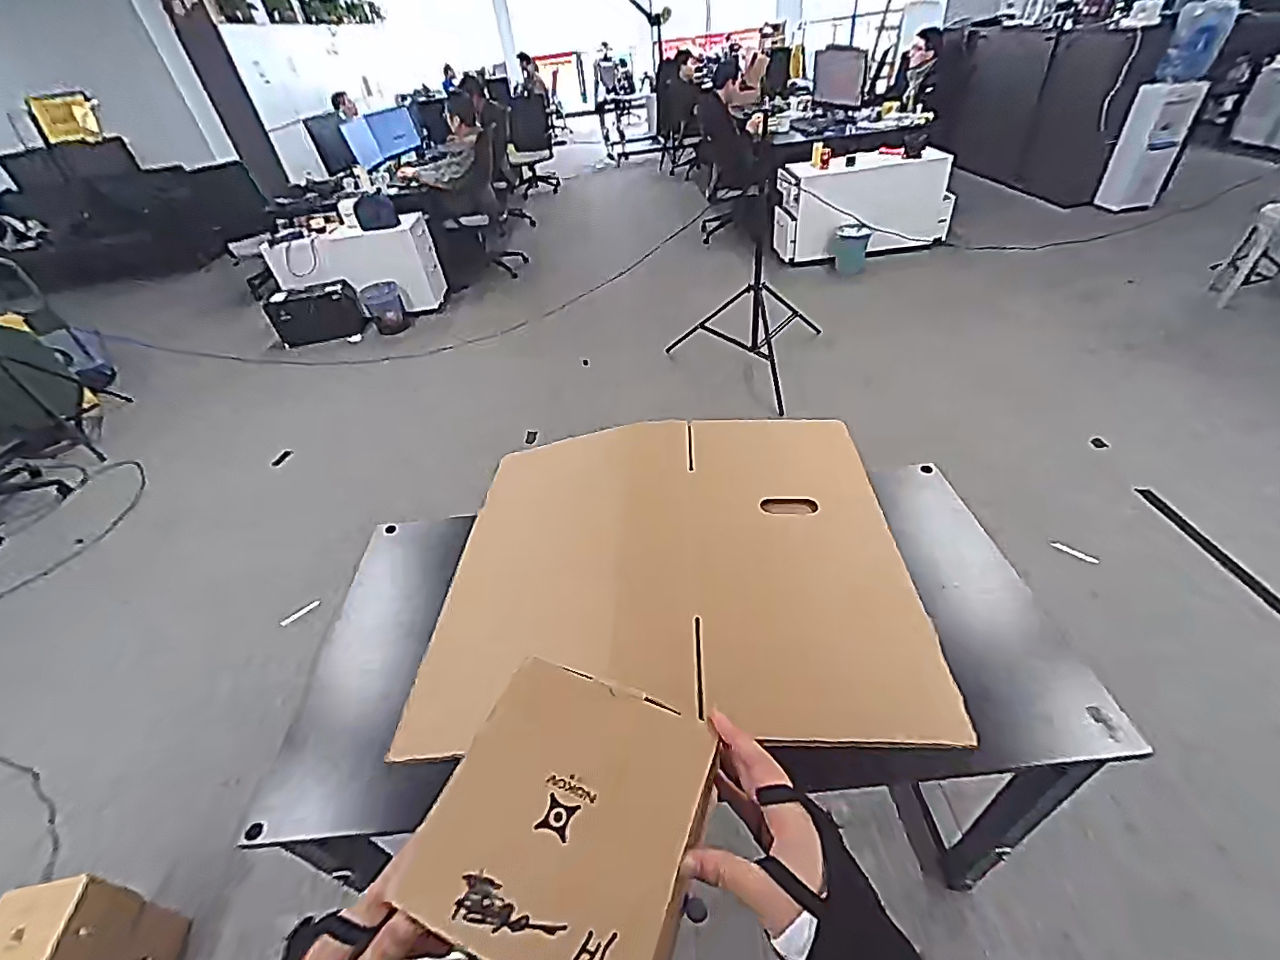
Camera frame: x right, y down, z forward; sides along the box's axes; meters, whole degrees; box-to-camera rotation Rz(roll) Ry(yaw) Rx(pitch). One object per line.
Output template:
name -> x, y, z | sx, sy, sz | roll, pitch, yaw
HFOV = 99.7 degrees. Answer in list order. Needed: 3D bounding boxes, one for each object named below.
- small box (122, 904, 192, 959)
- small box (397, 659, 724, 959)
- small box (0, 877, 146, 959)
small box -> -1.128, 1.056, 1.167 | 0.168, 0.176, 0.179 | -9, 41, -1
small box -> -0.041, 0.279, 0.417 | 0.168, 0.176, 0.179 | 12, 44, 20
small box -> -1.147, 0.929, 1.068 | 0.168, 0.176, 0.179 | -11, 39, -5
